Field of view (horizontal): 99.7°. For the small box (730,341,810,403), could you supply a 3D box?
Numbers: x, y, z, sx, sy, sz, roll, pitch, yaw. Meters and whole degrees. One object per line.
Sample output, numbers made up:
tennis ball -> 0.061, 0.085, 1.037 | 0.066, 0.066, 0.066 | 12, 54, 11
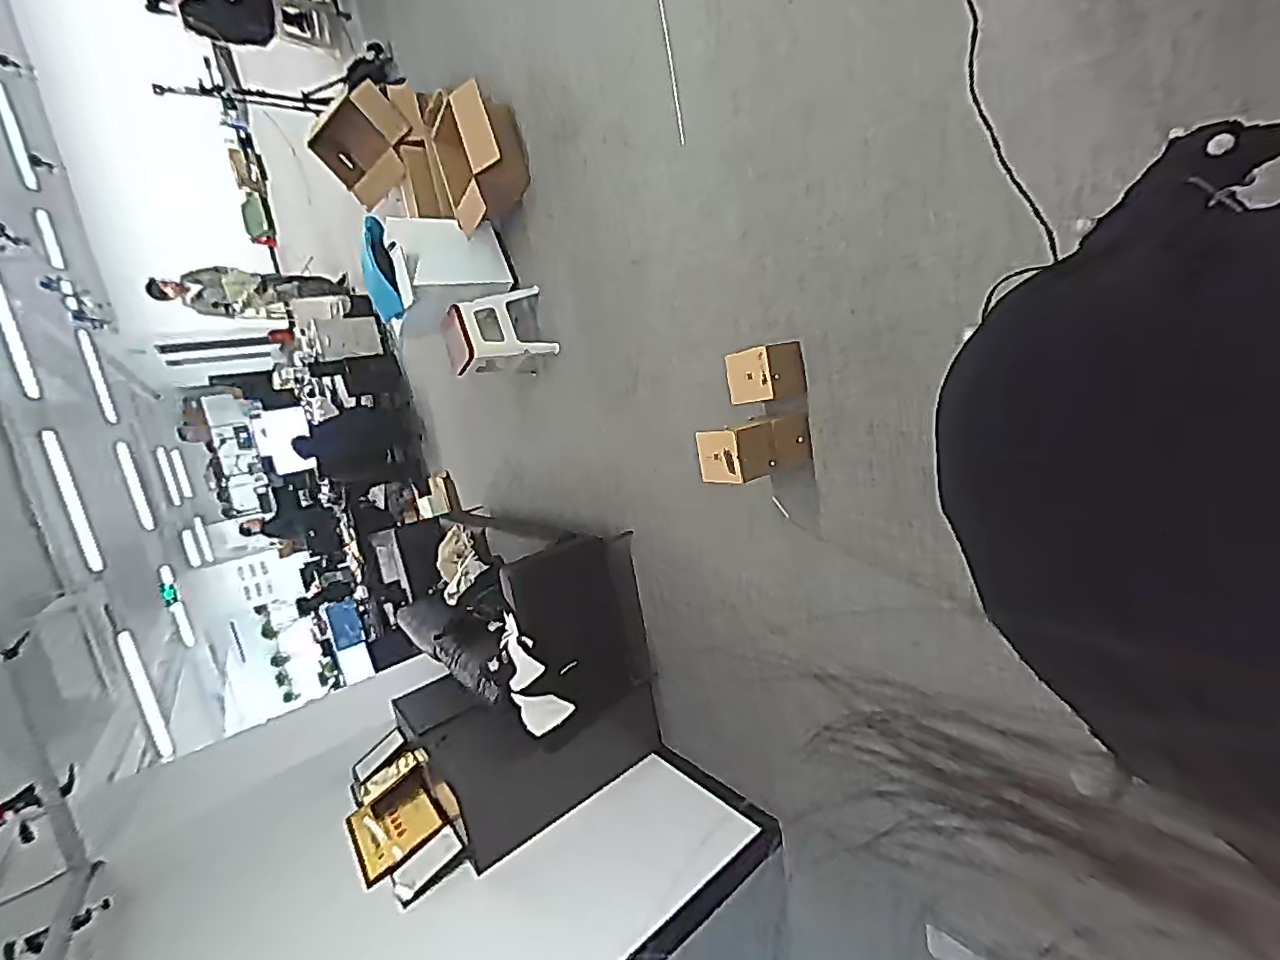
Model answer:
small box -> 0.422, -0.349, 1.756 | 0.179, 0.176, 0.168 | 1, 106, 54
